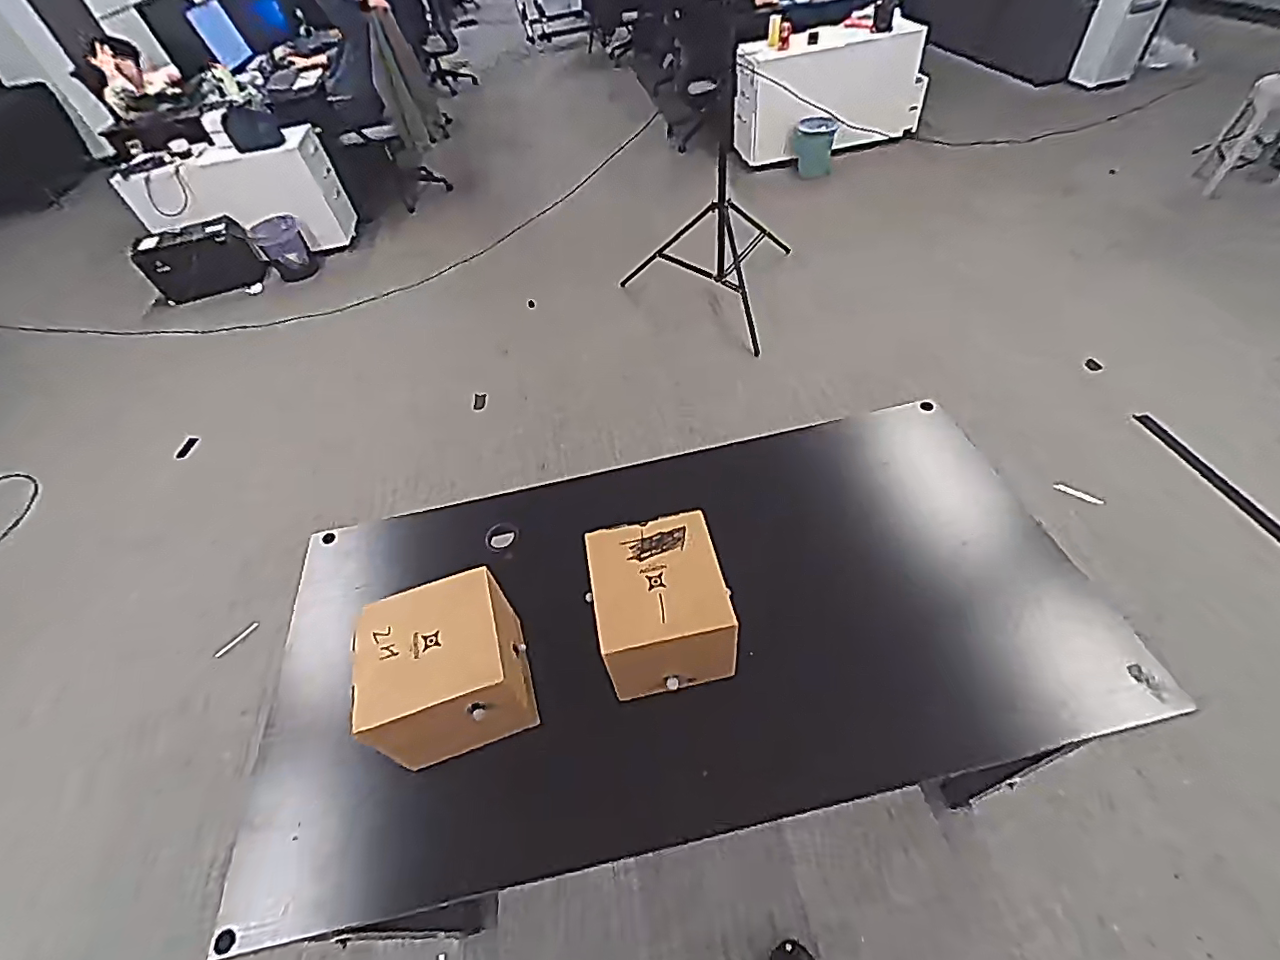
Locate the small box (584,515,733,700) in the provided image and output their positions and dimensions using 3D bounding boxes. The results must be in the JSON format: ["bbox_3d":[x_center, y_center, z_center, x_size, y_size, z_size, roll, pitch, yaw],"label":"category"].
[{"bbox_3d":[0.024,0.178,0.749,0.168,0.176,0.179,-12,50,-2],"label":"small box"}]

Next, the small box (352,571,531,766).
[{"bbox_3d":[-0.255,0.254,0.723,0.179,0.176,0.168,-18,50,-7],"label":"small box"}]
